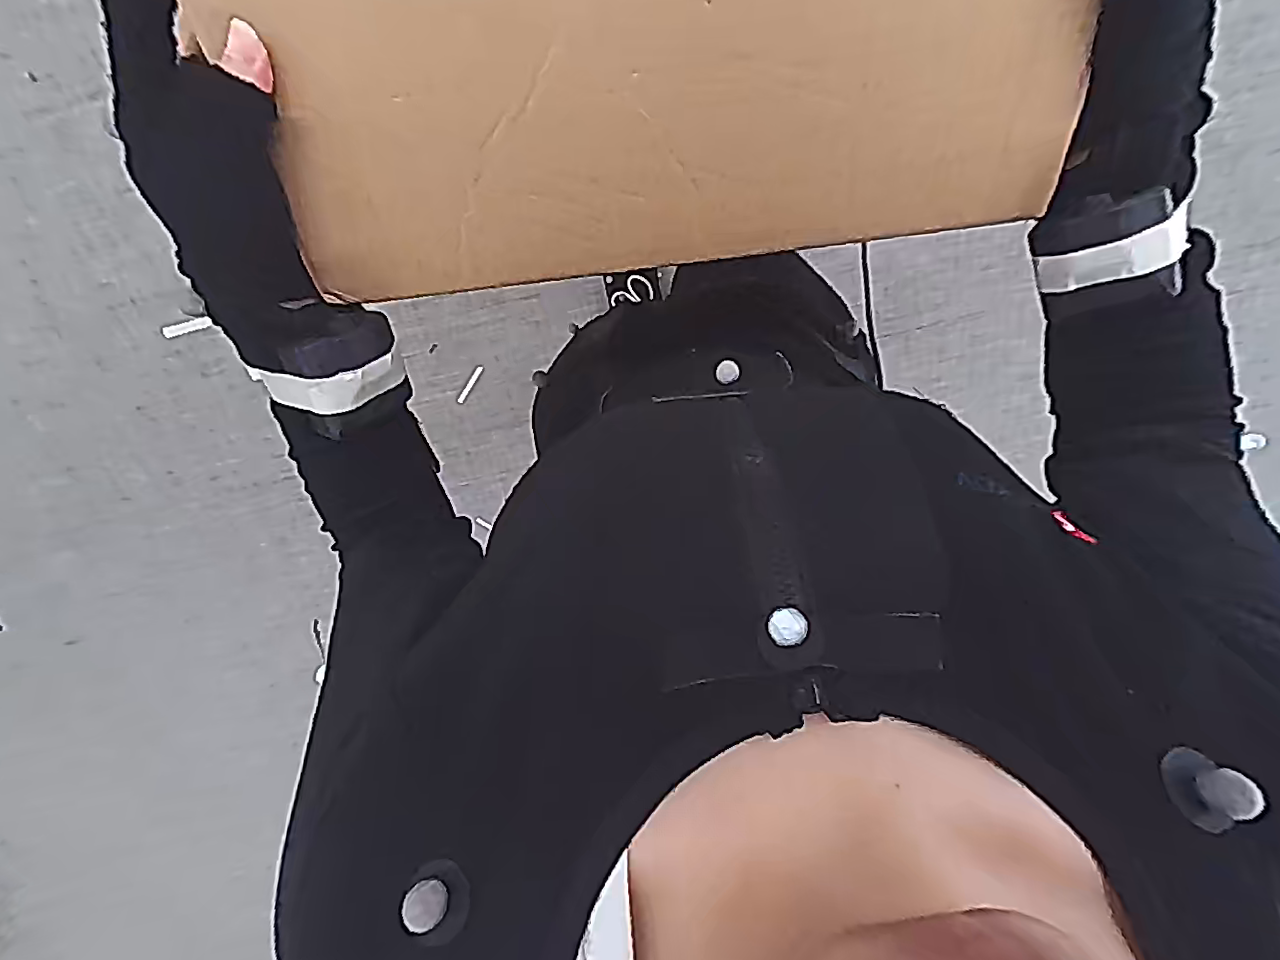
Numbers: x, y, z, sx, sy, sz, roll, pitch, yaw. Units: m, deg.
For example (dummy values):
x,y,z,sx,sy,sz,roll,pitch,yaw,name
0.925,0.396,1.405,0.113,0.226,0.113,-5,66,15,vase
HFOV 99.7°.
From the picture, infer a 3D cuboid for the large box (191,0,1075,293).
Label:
x,y,z,sx,sy,sz,roll,pitch,yaw,name
-0.007,-0.344,0.328,0.408,0.320,0.320,-7,128,-1,large box
